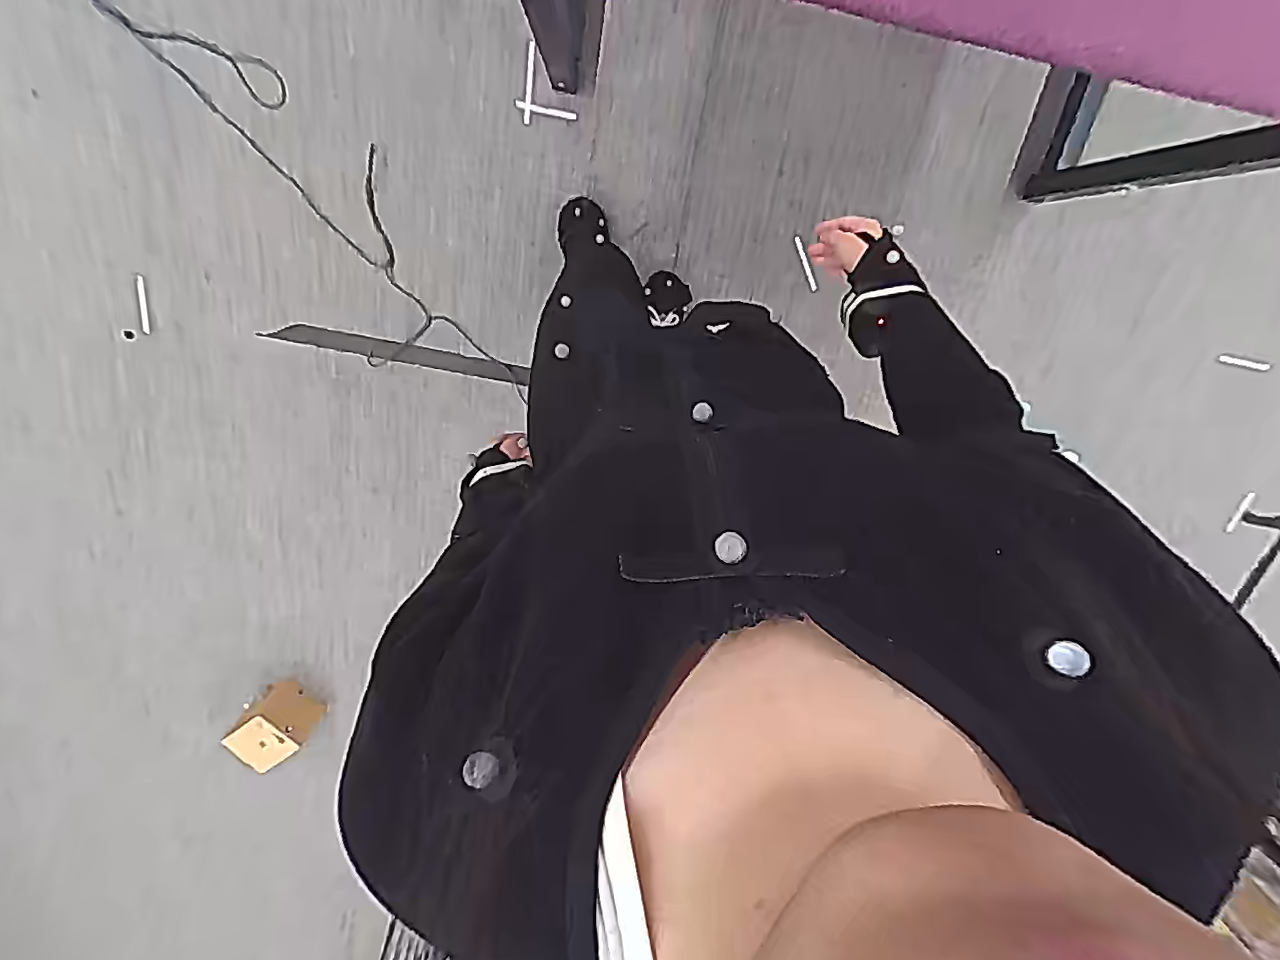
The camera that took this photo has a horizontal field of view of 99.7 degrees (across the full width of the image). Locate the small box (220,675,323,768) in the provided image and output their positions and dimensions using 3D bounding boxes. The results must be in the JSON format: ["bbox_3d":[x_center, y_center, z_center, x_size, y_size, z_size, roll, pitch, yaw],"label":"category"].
[{"bbox_3d":[-1.164,0.766,1.725,0.179,0.176,0.168,-34,109,11],"label":"small box"}]

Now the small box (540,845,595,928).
[{"bbox_3d":[-0.245,1.377,1.838,0.168,0.176,0.179,6,112,-5],"label":"small box"}]
